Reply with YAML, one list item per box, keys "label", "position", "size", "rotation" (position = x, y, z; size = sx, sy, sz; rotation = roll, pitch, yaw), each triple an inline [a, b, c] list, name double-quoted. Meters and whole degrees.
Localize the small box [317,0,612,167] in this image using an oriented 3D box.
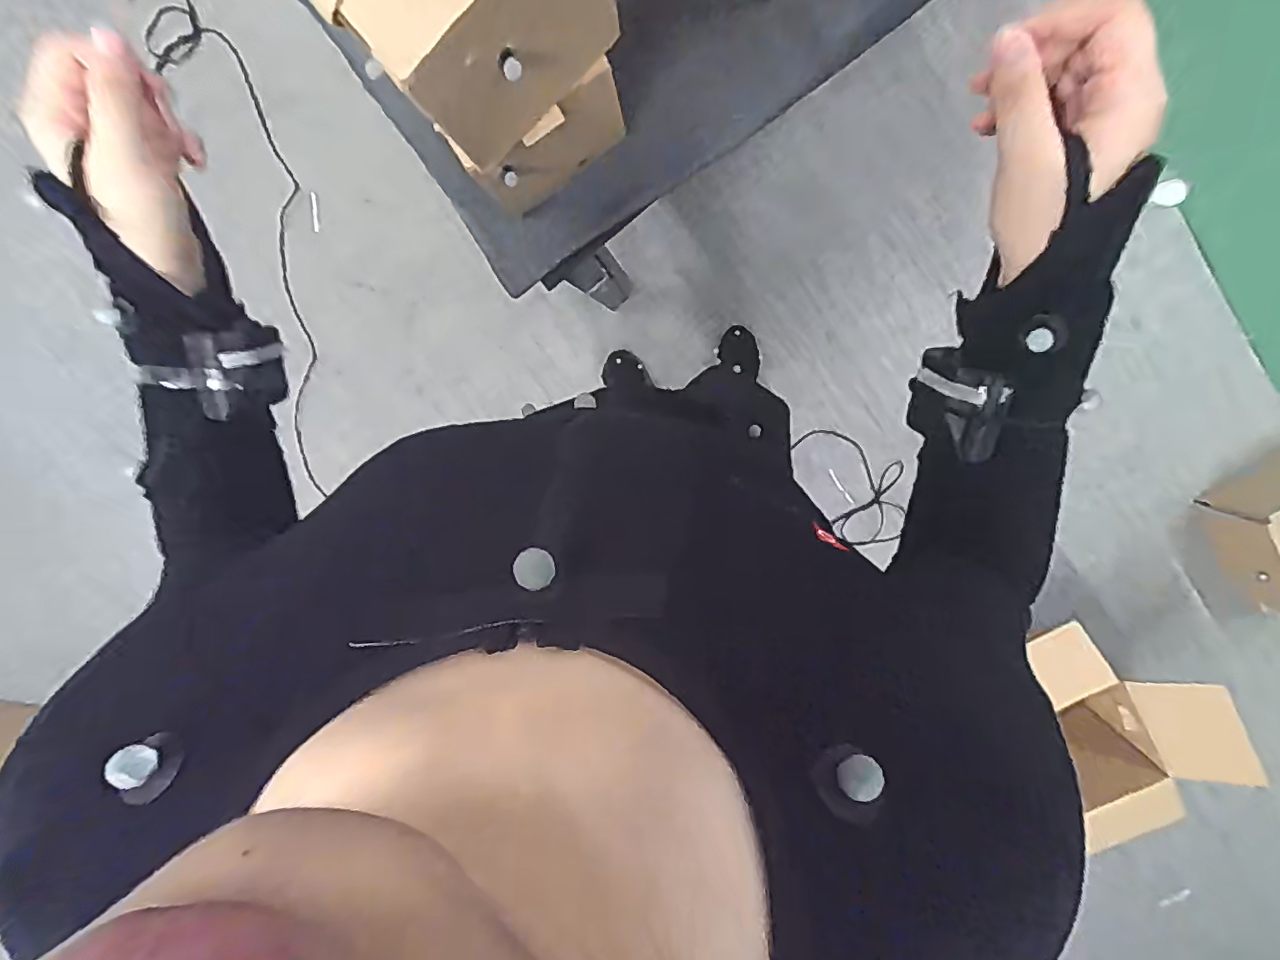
- label: "small box"
  position: [-0.139, -0.384, 0.411]
  size: [0.179, 0.176, 0.168]
  rotation: [-40, 97, 11]
